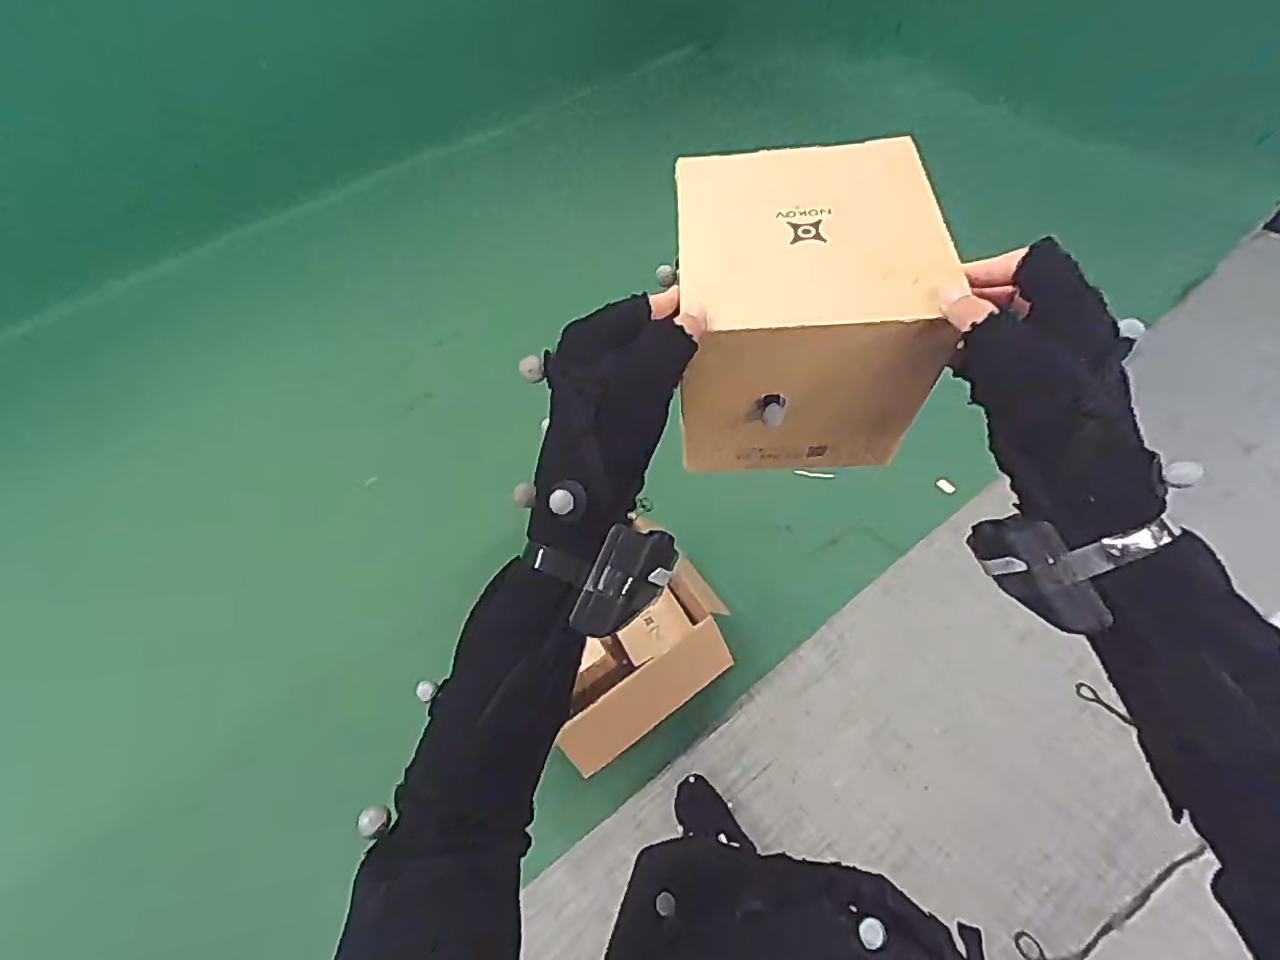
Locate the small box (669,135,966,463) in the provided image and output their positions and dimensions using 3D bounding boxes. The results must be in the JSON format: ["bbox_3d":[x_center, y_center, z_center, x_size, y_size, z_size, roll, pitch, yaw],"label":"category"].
[{"bbox_3d":[0.111,-0.122,0.414,0.168,0.176,0.179,-3,60,6],"label":"small box"}]
